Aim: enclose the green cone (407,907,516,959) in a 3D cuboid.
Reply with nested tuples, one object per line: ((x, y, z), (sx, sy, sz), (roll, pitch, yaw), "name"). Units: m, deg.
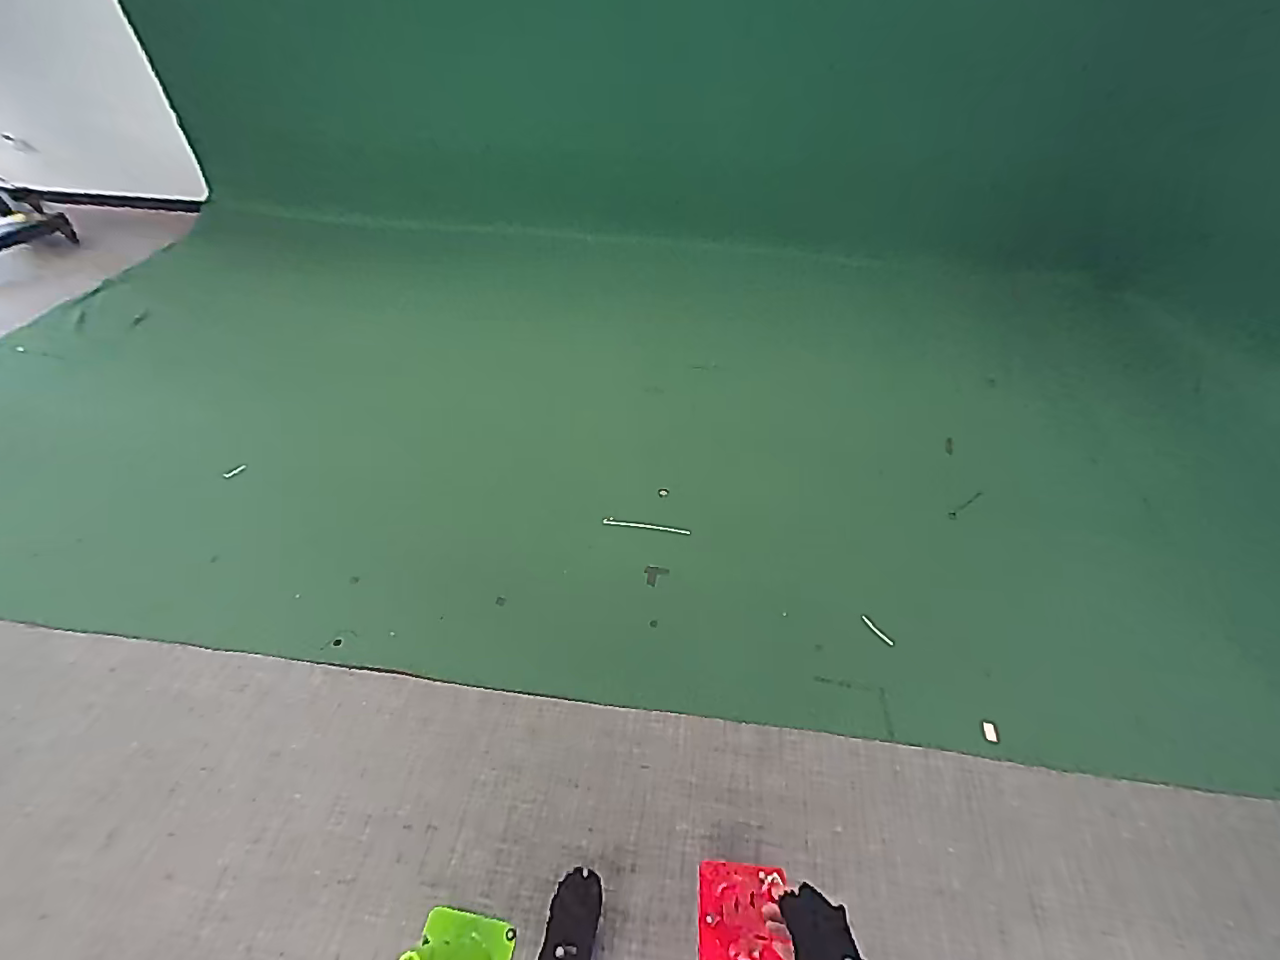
((-0.371, 0.894, 0.979), (0.200, 0.368, 0.202), (8, 47, 6), "green cone")
